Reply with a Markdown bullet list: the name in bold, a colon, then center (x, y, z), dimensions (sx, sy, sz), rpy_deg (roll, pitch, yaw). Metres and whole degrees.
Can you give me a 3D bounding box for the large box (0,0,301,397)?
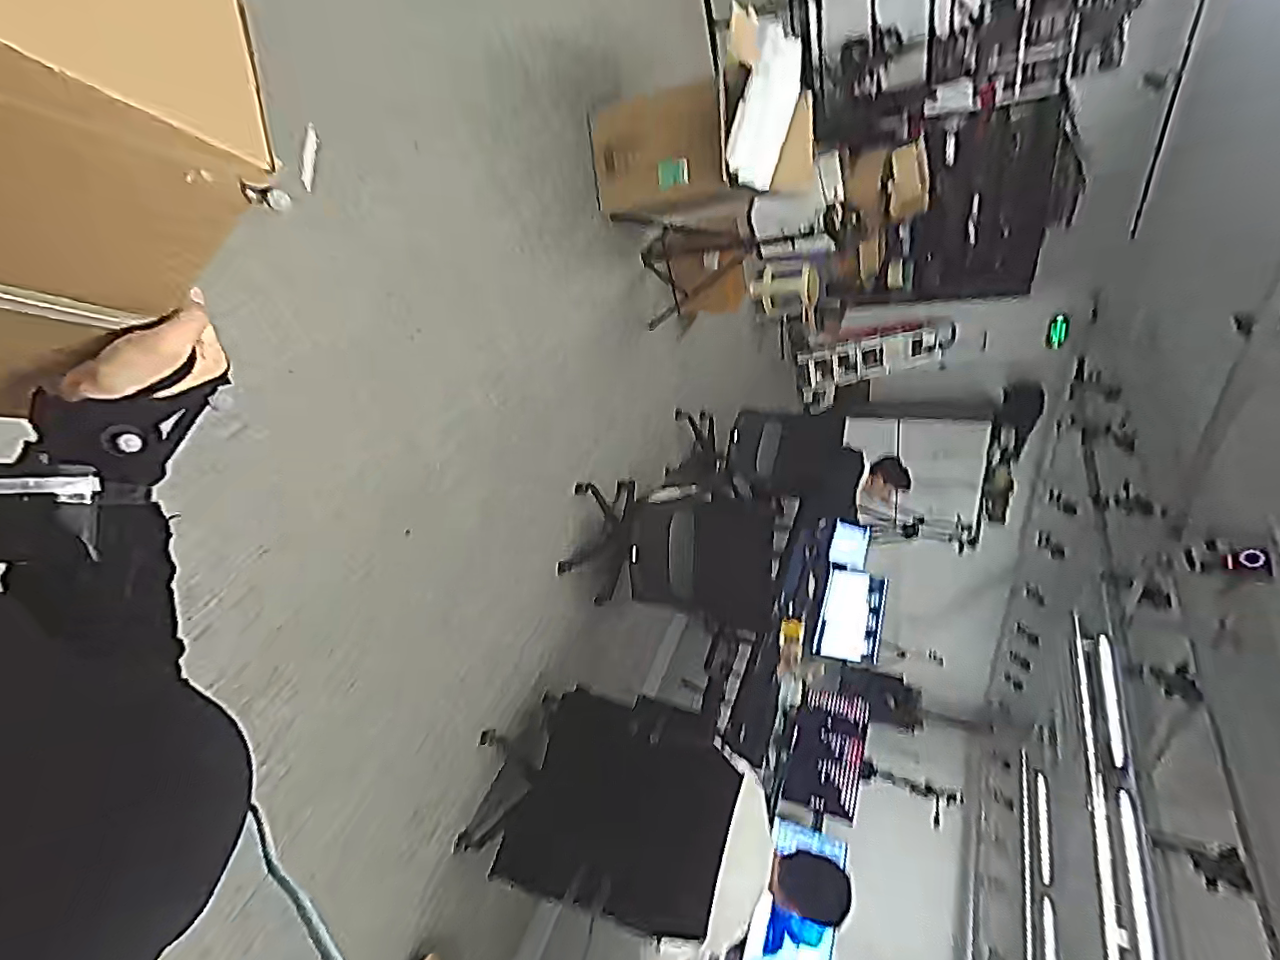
- **large box**: center (-0.446, -0.259, 0.211), dimensions (0.408, 0.320, 0.320), rpy_deg (-1, 69, -59)
